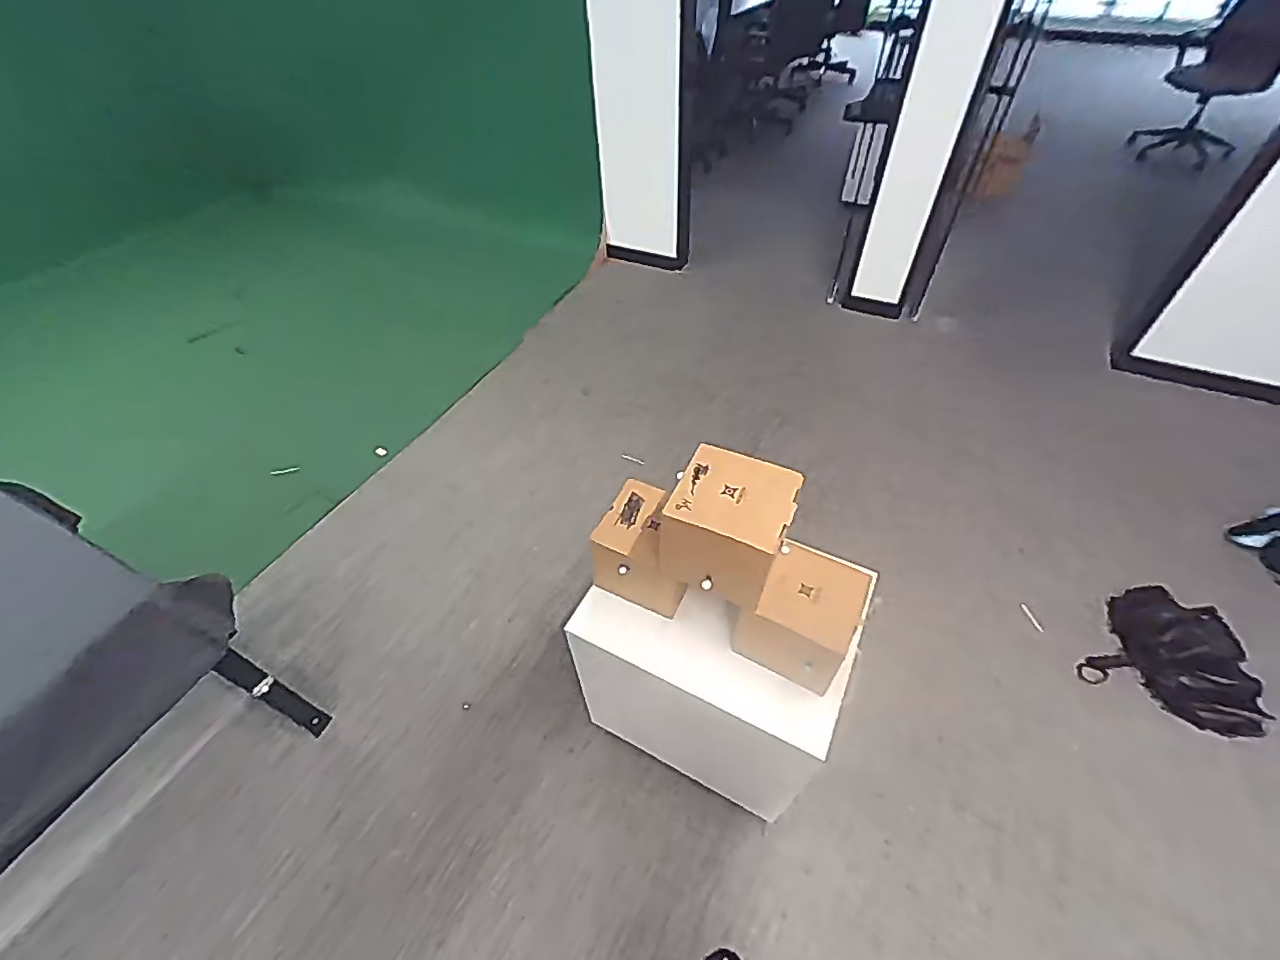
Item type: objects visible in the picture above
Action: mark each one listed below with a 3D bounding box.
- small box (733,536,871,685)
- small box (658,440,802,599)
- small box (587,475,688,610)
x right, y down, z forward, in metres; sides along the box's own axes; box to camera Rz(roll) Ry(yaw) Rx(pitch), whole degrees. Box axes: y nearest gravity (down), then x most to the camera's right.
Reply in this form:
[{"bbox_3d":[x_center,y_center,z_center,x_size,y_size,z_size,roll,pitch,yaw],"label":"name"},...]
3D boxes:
[{"bbox_3d":[0.277,0.233,0.950,0.179,0.176,0.168,21,52,21],"label":"small box"},{"bbox_3d":[0.140,0.070,0.880,0.179,0.176,0.168,20,52,17],"label":"small box"},{"bbox_3d":[0.017,0.125,1.050,0.179,0.176,0.168,21,53,17],"label":"small box"}]
